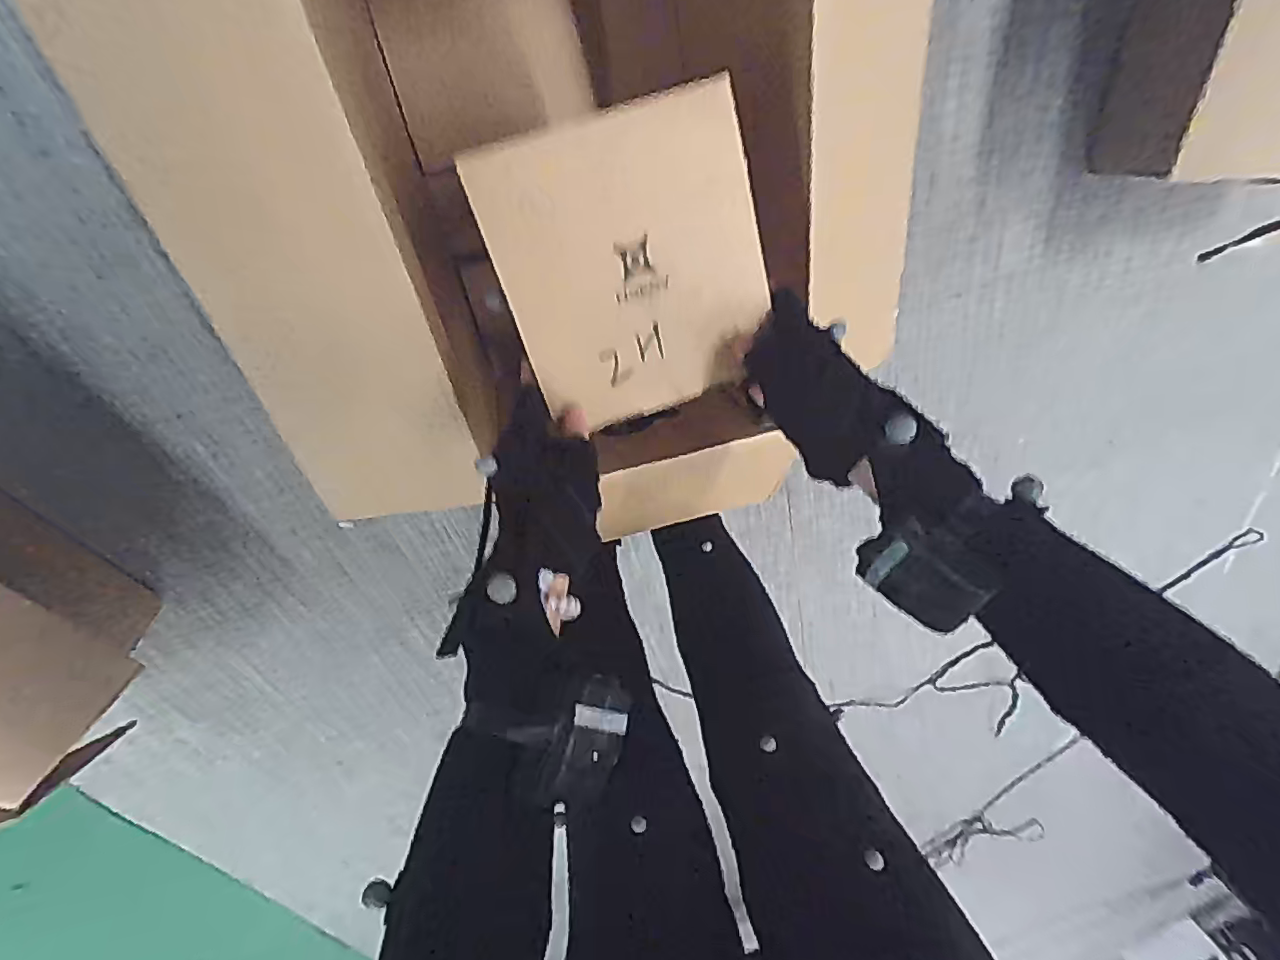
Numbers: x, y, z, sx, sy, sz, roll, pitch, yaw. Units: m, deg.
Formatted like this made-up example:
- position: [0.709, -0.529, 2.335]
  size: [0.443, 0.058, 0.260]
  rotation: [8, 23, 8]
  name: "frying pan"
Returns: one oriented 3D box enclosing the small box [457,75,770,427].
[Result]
- position: [-0.023, -0.163, 0.413]
  size: [0.168, 0.176, 0.179]
  rotation: [-19, 114, -4]
  name: "small box"
